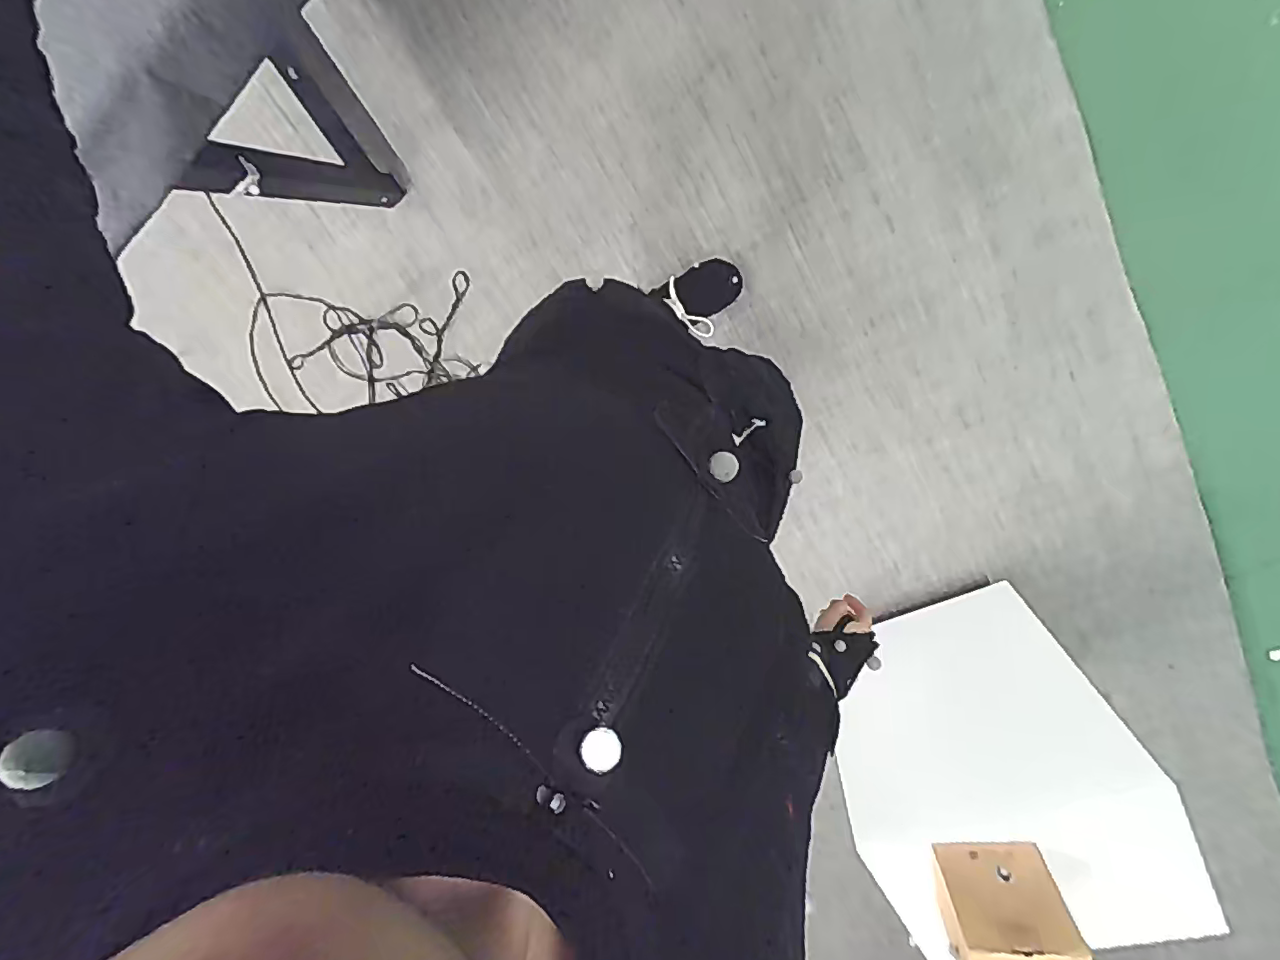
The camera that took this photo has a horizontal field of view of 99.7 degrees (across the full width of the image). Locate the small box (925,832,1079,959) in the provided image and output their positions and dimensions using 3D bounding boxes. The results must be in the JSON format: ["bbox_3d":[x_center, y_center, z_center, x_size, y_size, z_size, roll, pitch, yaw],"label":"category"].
[{"bbox_3d":[0.601,0.735,0.918,0.168,0.176,0.179,-11,112,13],"label":"small box"}]
